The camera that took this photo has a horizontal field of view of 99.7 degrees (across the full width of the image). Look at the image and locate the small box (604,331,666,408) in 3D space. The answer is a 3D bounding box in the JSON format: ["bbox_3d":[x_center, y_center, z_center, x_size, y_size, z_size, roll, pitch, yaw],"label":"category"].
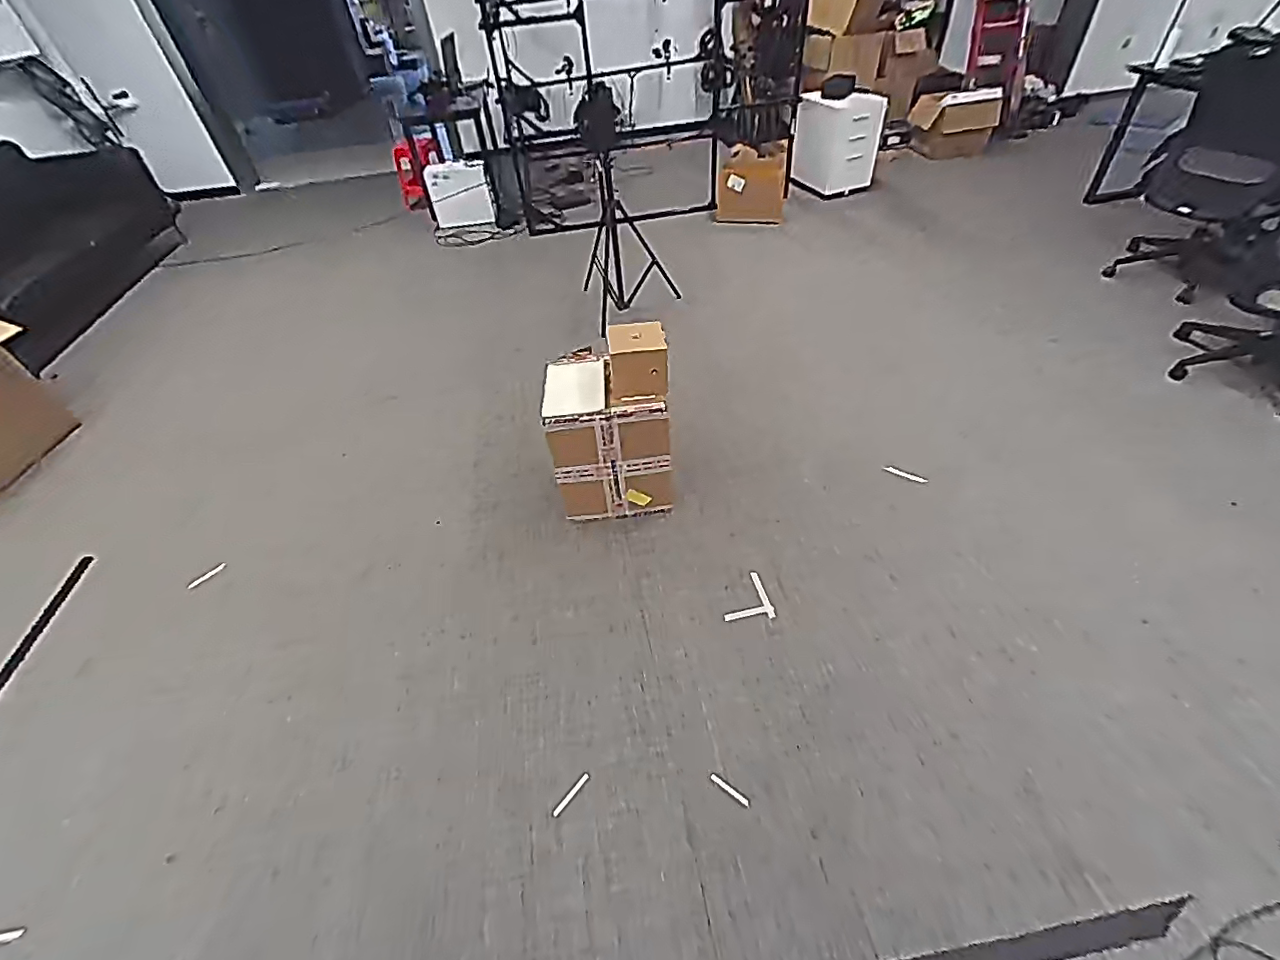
[{"bbox_3d":[-0.015,-0.345,1.697,0.179,0.176,0.168,-7,46,-3],"label":"small box"}]
